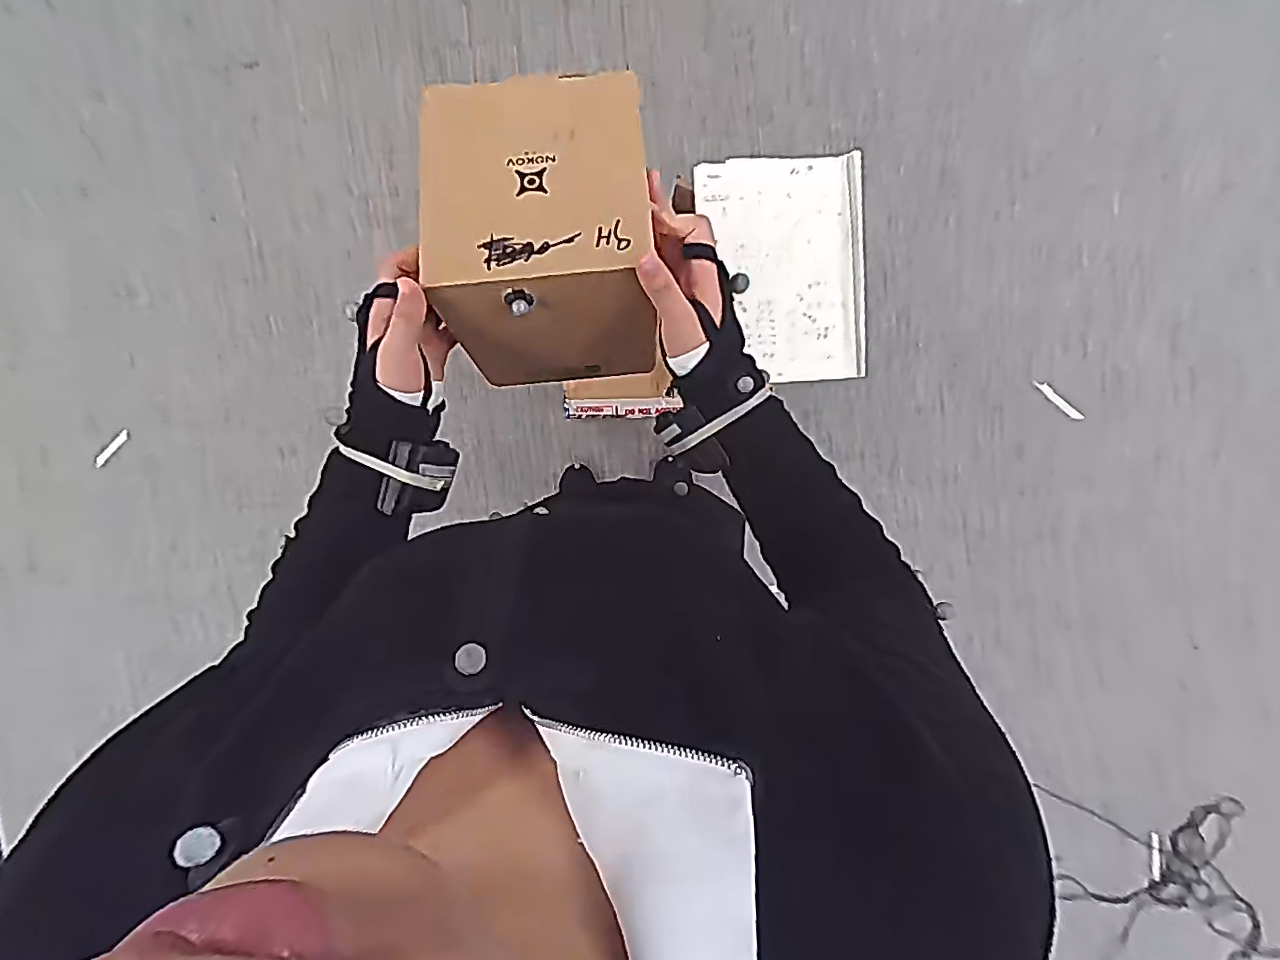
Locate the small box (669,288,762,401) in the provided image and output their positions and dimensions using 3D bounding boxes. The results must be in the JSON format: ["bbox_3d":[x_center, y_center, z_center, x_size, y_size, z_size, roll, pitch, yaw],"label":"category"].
[{"bbox_3d":[0.151,-0.230,0.924,0.179,0.176,0.168,-7,94,-1],"label":"small box"}]

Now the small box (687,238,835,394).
[{"bbox_3d":[0.160,-0.219,0.760,0.168,0.176,0.179,-4,95,-2],"label":"small box"}]

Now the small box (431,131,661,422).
[{"bbox_3d":[-0.072,-0.166,0.481,0.168,0.176,0.179,-5,75,0],"label":"small box"}]
